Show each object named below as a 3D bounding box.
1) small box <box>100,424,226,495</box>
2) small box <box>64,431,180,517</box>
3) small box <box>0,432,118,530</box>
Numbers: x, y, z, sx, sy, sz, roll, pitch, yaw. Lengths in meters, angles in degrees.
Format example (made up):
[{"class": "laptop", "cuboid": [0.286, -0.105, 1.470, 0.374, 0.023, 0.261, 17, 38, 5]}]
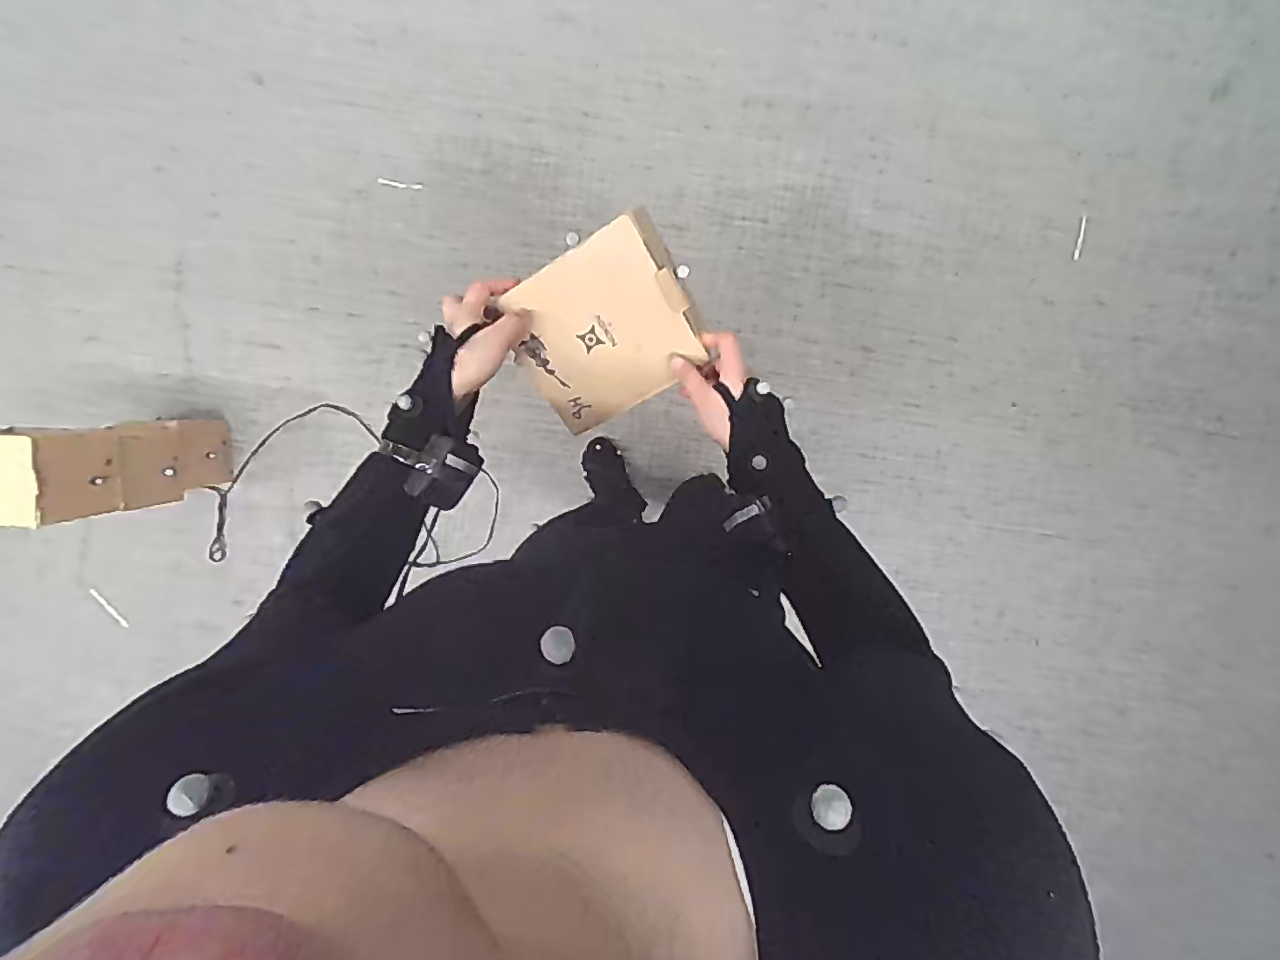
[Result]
[{"class": "small box", "cuboid": [-1.175, -0.056, 1.350, 0.179, 0.176, 0.168, 0, 96, -1]}, {"class": "small box", "cuboid": [-1.168, -0.018, 1.190, 0.179, 0.176, 0.168, 3, 97, -3]}, {"class": "small box", "cuboid": [-1.160, -0.004, 1.028, 0.179, 0.176, 0.168, 2, 97, -2]}]
